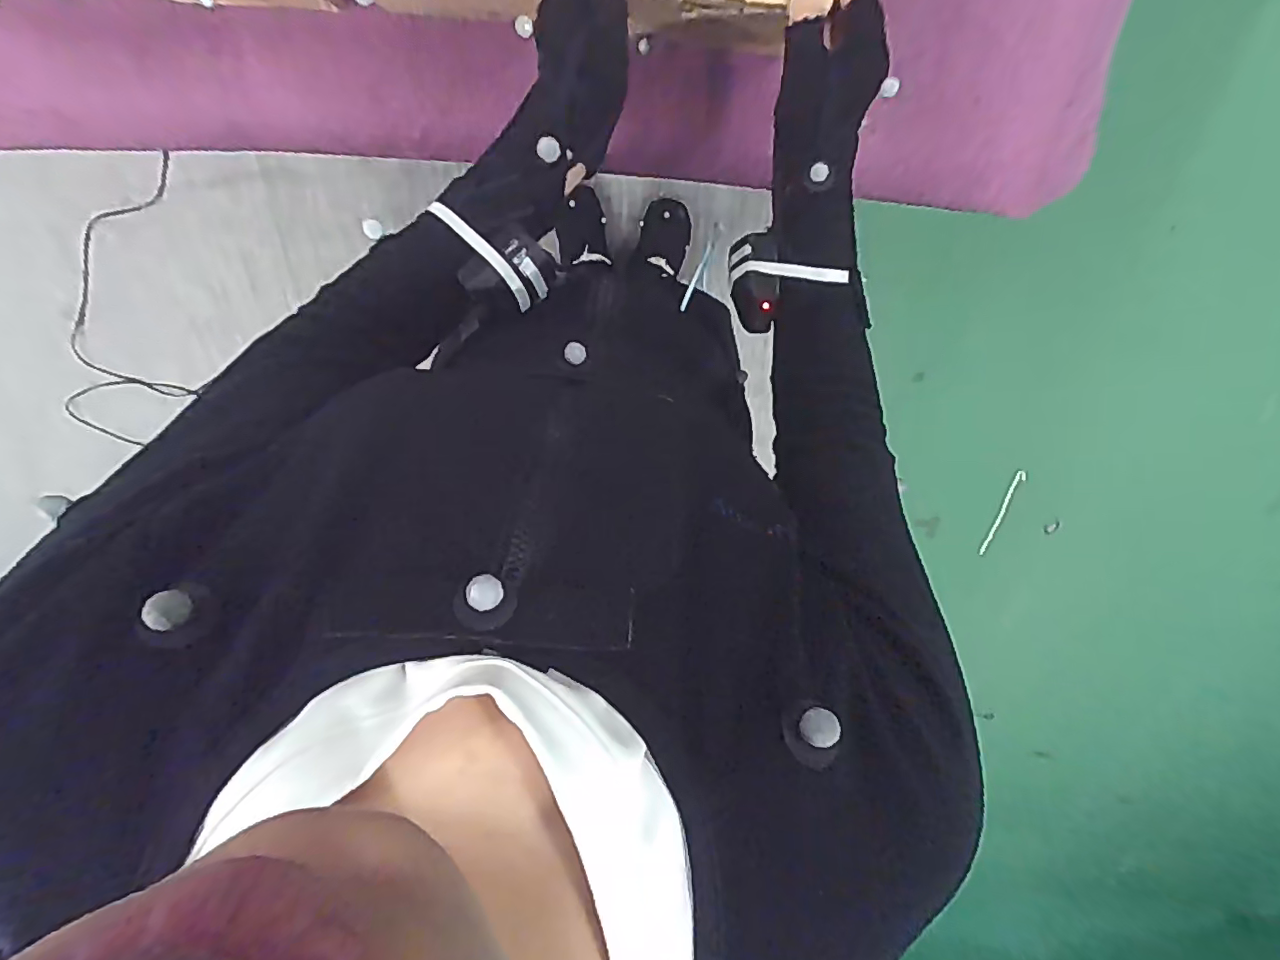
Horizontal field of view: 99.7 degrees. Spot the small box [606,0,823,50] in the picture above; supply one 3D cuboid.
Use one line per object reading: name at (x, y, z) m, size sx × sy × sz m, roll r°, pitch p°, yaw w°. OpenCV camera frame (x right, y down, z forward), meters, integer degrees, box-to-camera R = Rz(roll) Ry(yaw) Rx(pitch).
small box at (0.061, -0.453, 0.407) m, size 0.168 × 0.176 × 0.179 m, roll 6°, pitch 119°, yaw -2°
